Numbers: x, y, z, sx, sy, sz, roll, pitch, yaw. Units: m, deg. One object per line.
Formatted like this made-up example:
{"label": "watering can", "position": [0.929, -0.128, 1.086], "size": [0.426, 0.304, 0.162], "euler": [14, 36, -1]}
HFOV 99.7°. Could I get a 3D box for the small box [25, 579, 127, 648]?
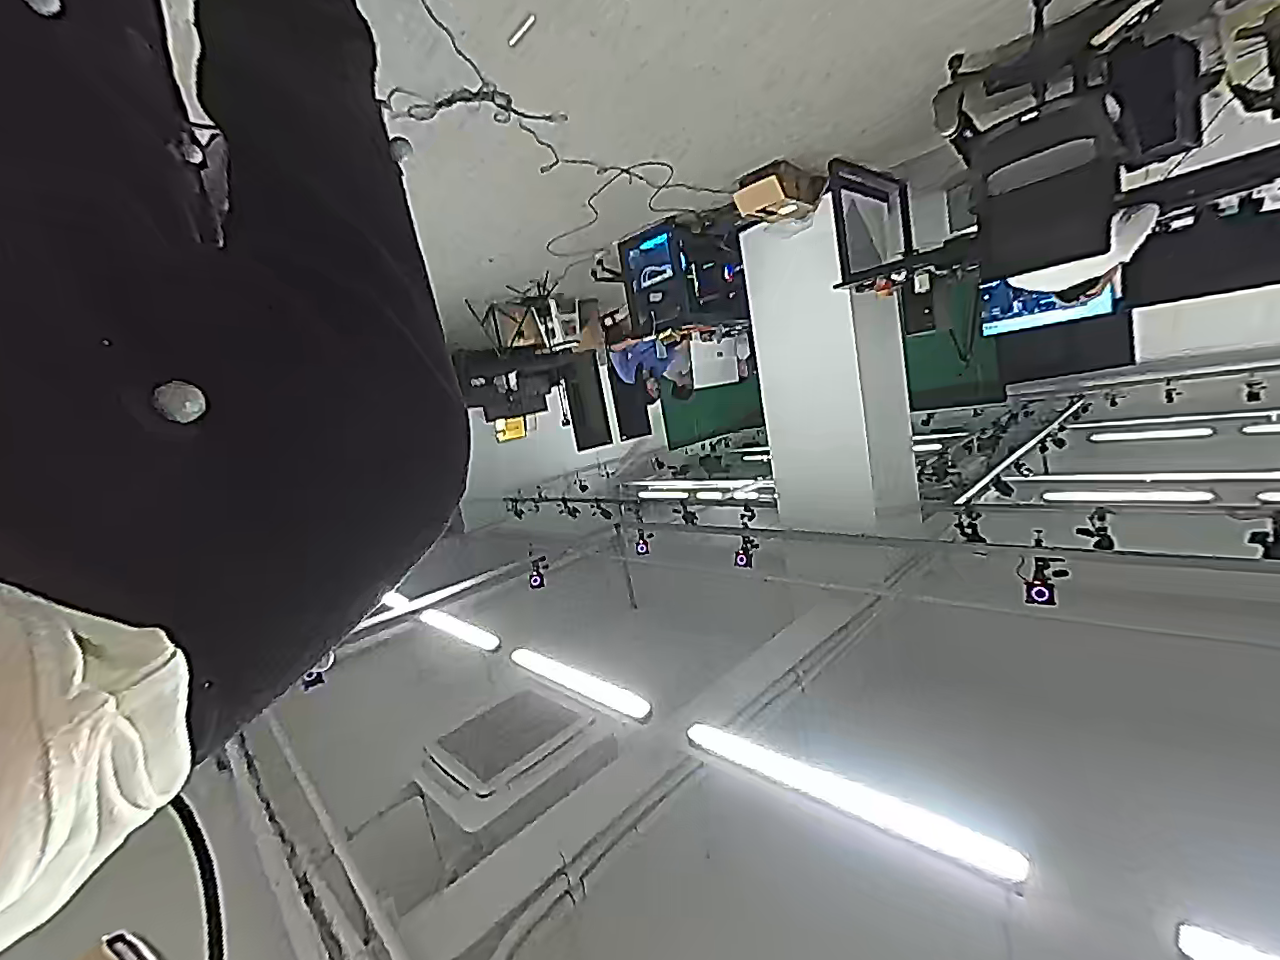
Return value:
{"label": "small box", "position": [-1.872, 0.434, 1.794], "size": [0.168, 0.176, 0.179], "euler": [-6, -170, 31]}
